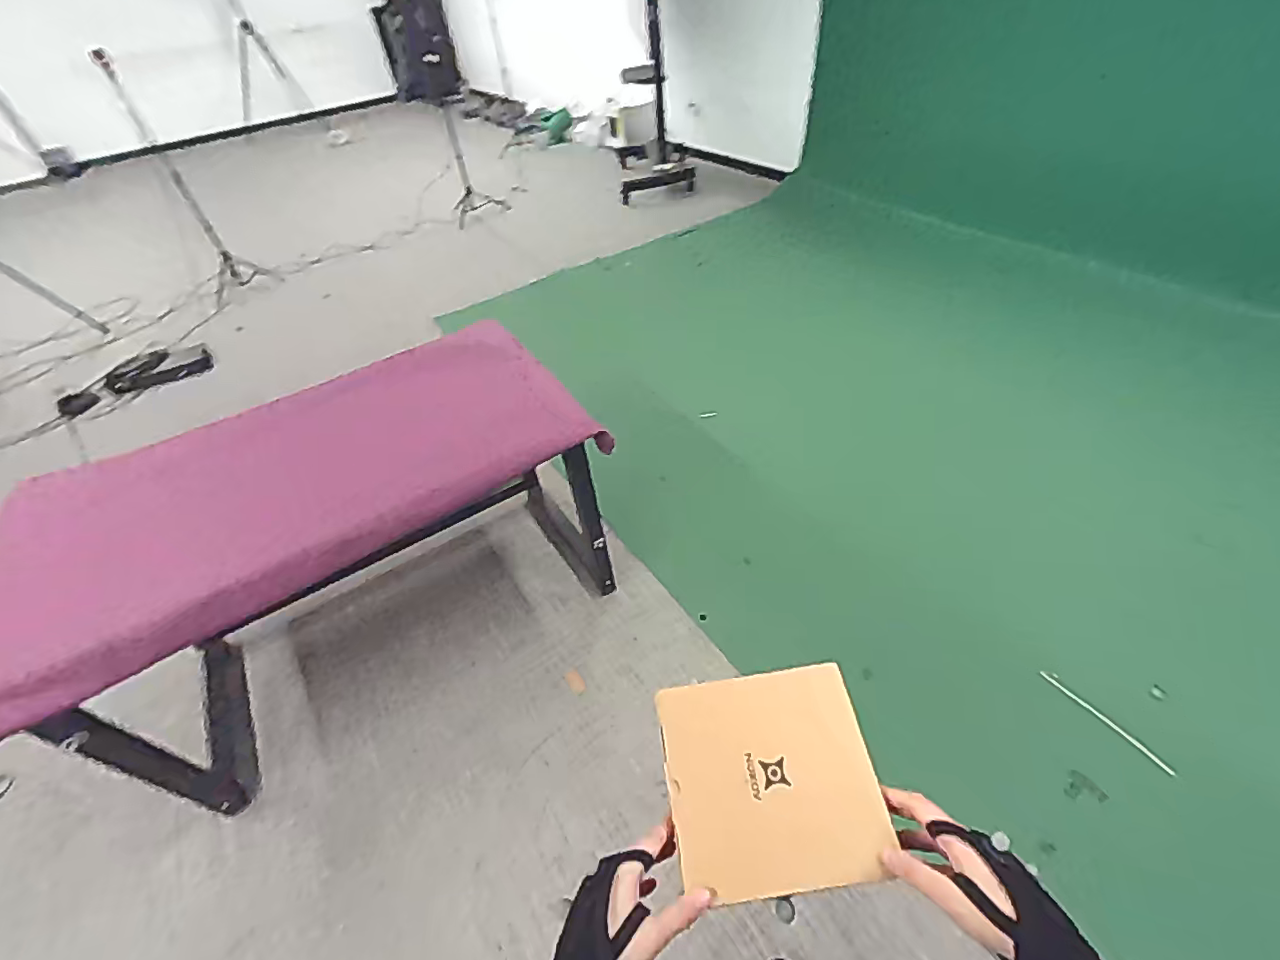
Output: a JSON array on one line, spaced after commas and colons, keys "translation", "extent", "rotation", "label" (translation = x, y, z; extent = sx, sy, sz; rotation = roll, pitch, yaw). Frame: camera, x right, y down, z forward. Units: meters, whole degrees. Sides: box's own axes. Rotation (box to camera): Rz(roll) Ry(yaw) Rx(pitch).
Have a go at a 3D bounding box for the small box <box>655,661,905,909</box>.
[{"translation": [0.119, 0.295, 0.527], "extent": [0.179, 0.176, 0.168], "rotation": [-12, 54, 1], "label": "small box"}]
